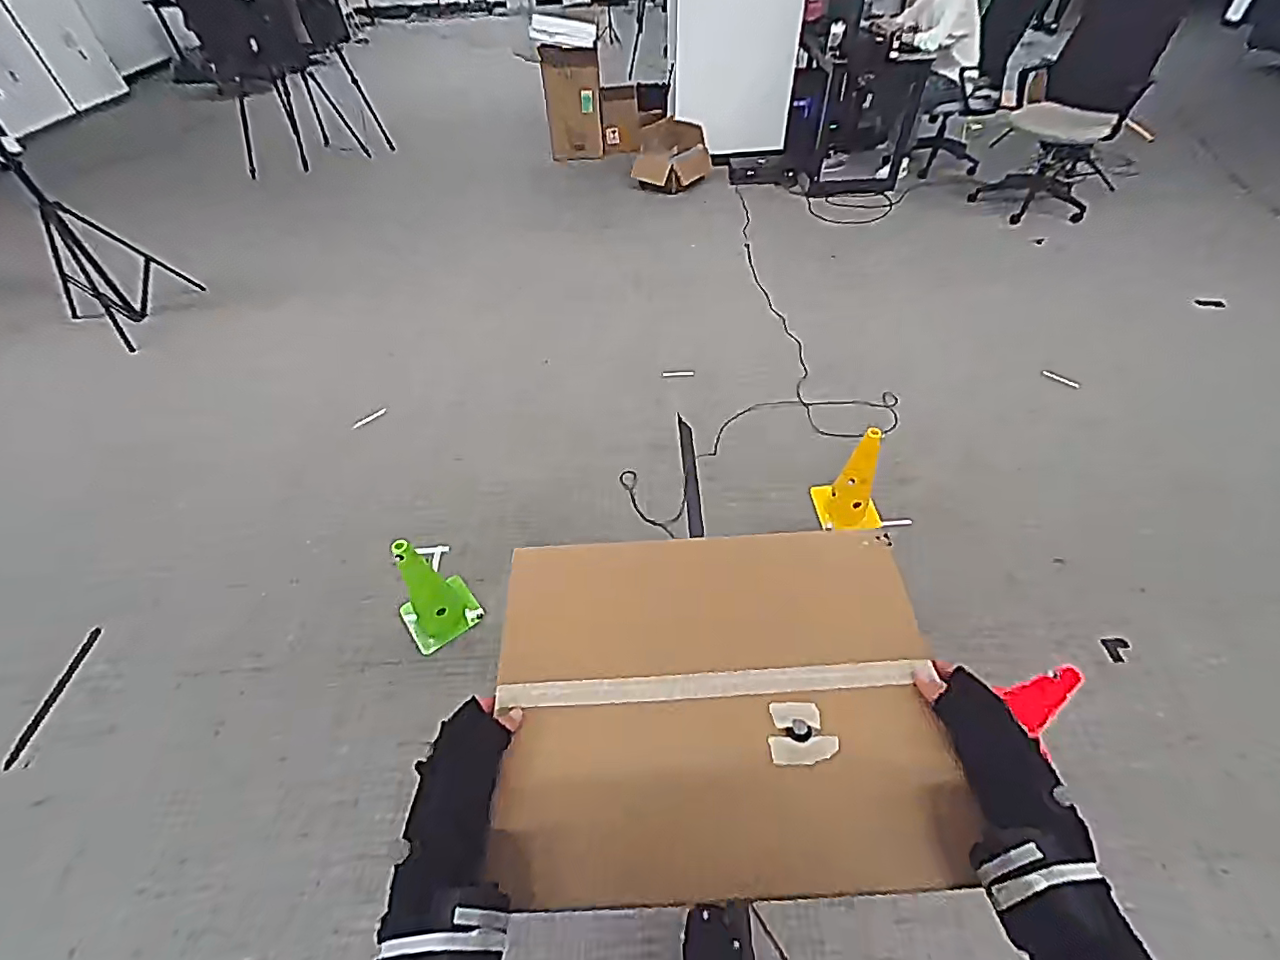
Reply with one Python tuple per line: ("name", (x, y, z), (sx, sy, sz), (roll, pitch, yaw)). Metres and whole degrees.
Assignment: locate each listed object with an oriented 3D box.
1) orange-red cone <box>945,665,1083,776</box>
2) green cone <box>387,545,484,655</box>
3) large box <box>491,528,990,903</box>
("orange-red cone", (0.887, 0.512, 1.230), (0.198, 0.360, 0.199), (-4, 46, -2))
("green cone", (-0.608, 0.293, 1.510), (0.202, 0.368, 0.200), (-34, 54, -23))
("large box", (0.074, 0.278, 0.627), (0.408, 0.320, 0.320), (-3, 54, 0))
